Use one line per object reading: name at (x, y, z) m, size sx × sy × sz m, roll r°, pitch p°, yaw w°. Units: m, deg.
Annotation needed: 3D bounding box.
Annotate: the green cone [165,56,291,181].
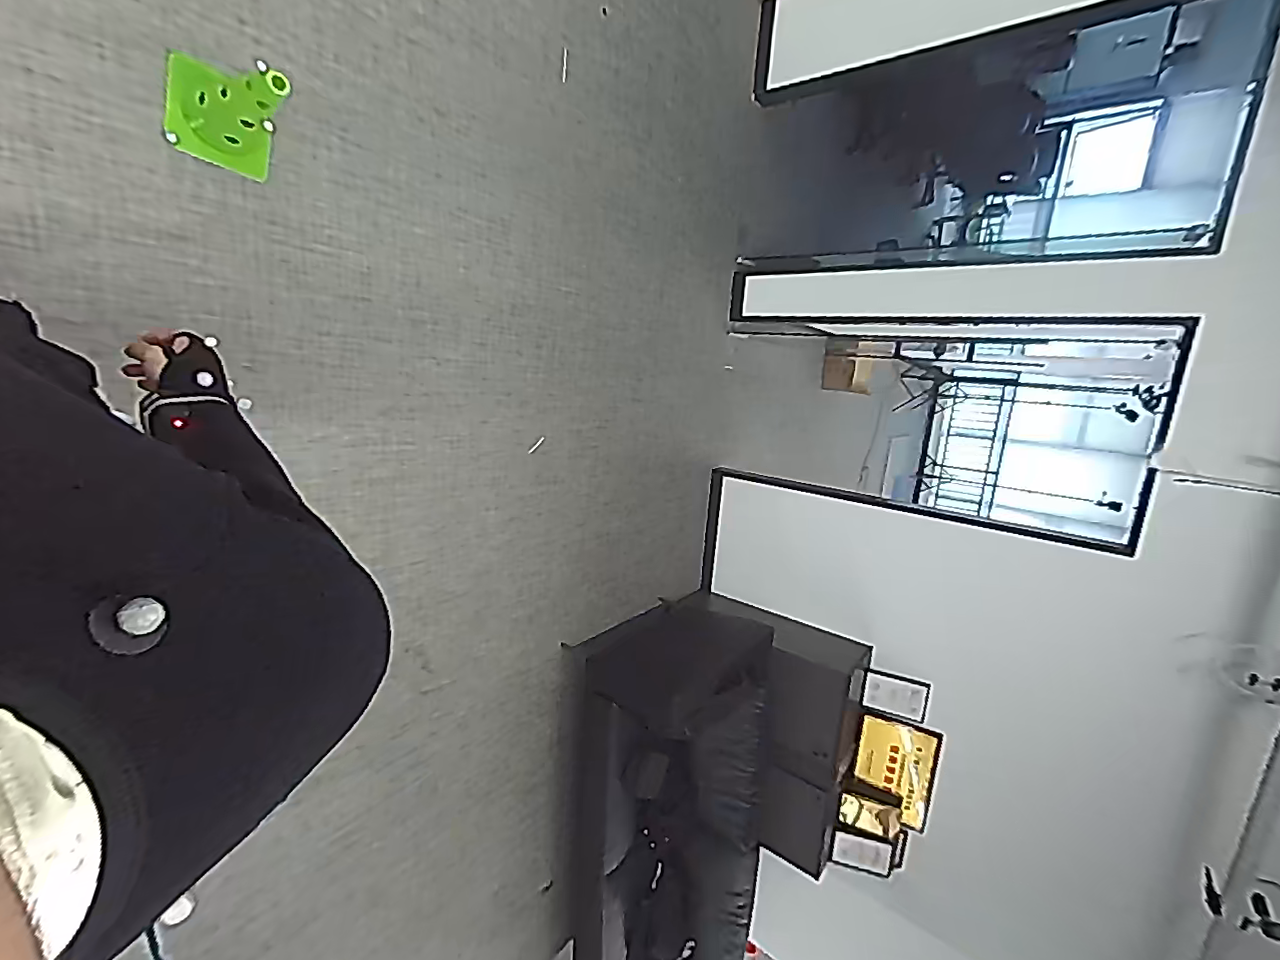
green cone at (-0.845, -0.810, 1.166) m, size 0.200 × 0.368 × 0.202 m, roll -1°, pitch 100°, yaw -54°
